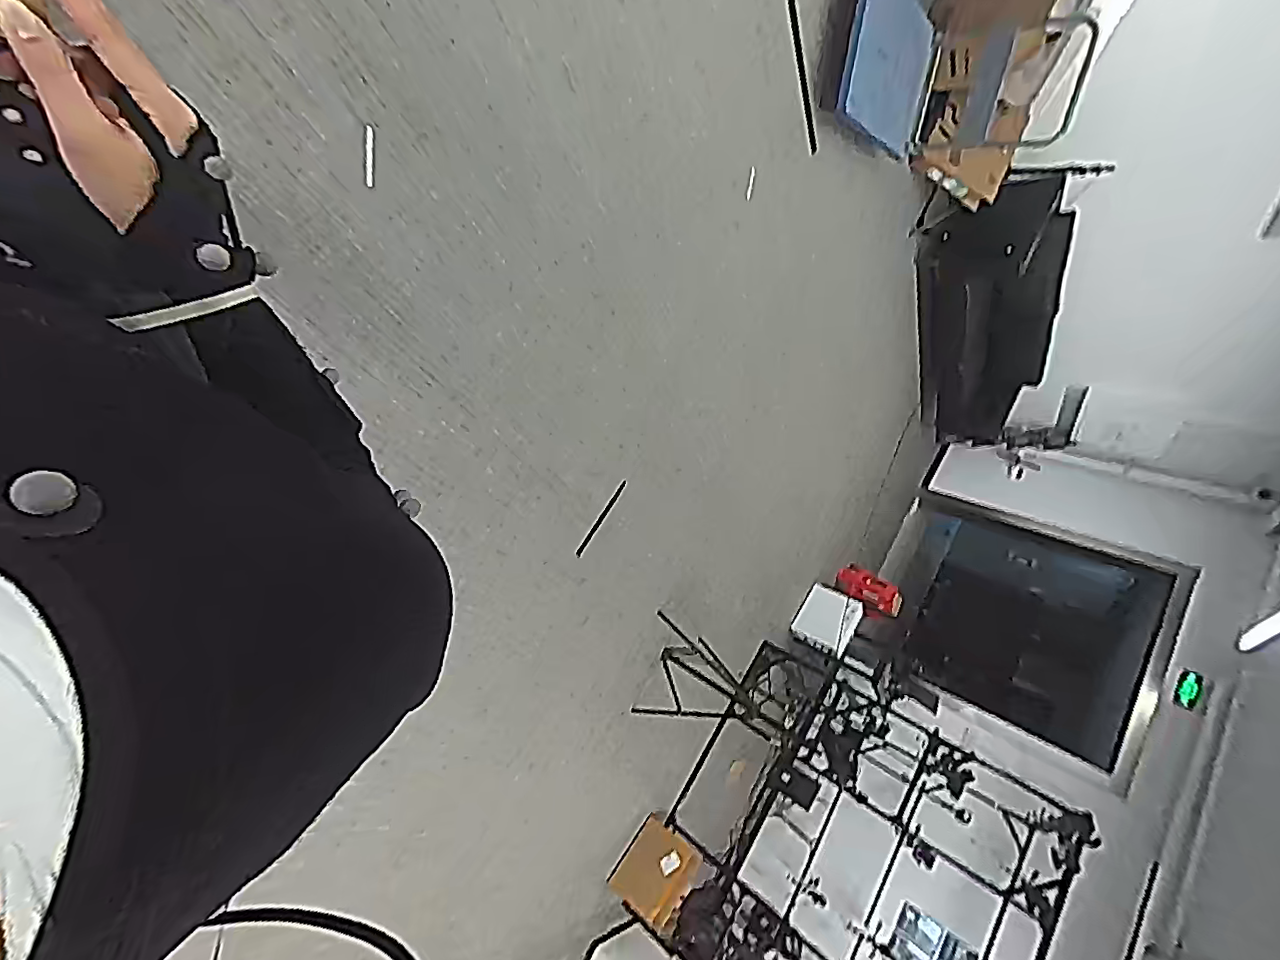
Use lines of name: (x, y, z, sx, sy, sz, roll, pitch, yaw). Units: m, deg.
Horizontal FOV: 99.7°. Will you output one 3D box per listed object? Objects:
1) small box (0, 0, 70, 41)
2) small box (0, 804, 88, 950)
small box: (-0.380, -0.306, 0.212, 0.179, 0.176, 0.168, -18, 130, -45)
small box: (-1.227, 0.761, 1.038, 0.179, 0.176, 0.168, -61, 144, -10)
